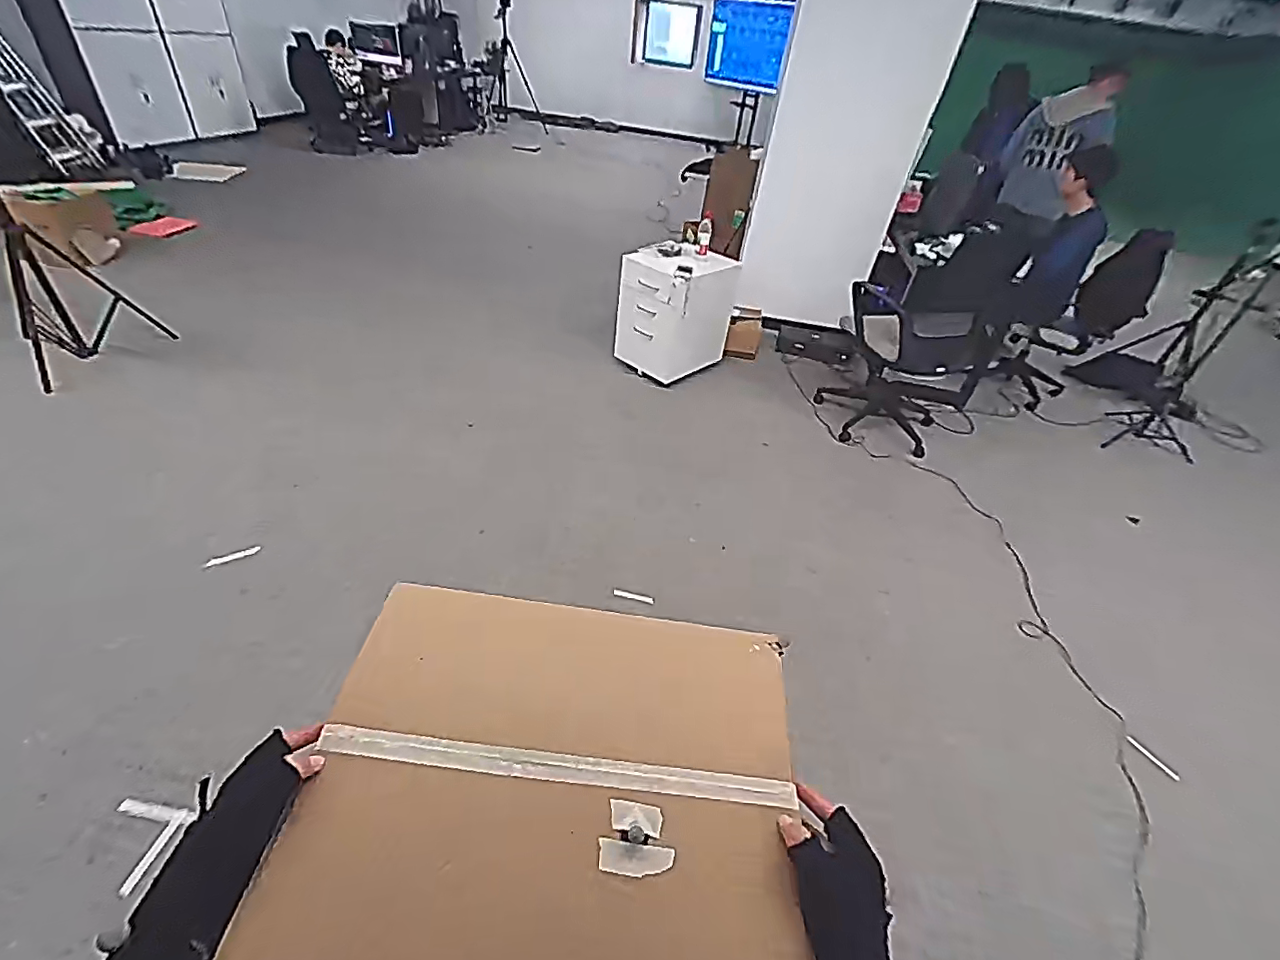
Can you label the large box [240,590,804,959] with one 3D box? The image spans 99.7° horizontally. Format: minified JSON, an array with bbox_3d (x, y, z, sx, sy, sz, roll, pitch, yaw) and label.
[{"bbox_3d":[-0.088,0.354,0.579,0.408,0.320,0.320,9,45,-2],"label":"large box"}]
